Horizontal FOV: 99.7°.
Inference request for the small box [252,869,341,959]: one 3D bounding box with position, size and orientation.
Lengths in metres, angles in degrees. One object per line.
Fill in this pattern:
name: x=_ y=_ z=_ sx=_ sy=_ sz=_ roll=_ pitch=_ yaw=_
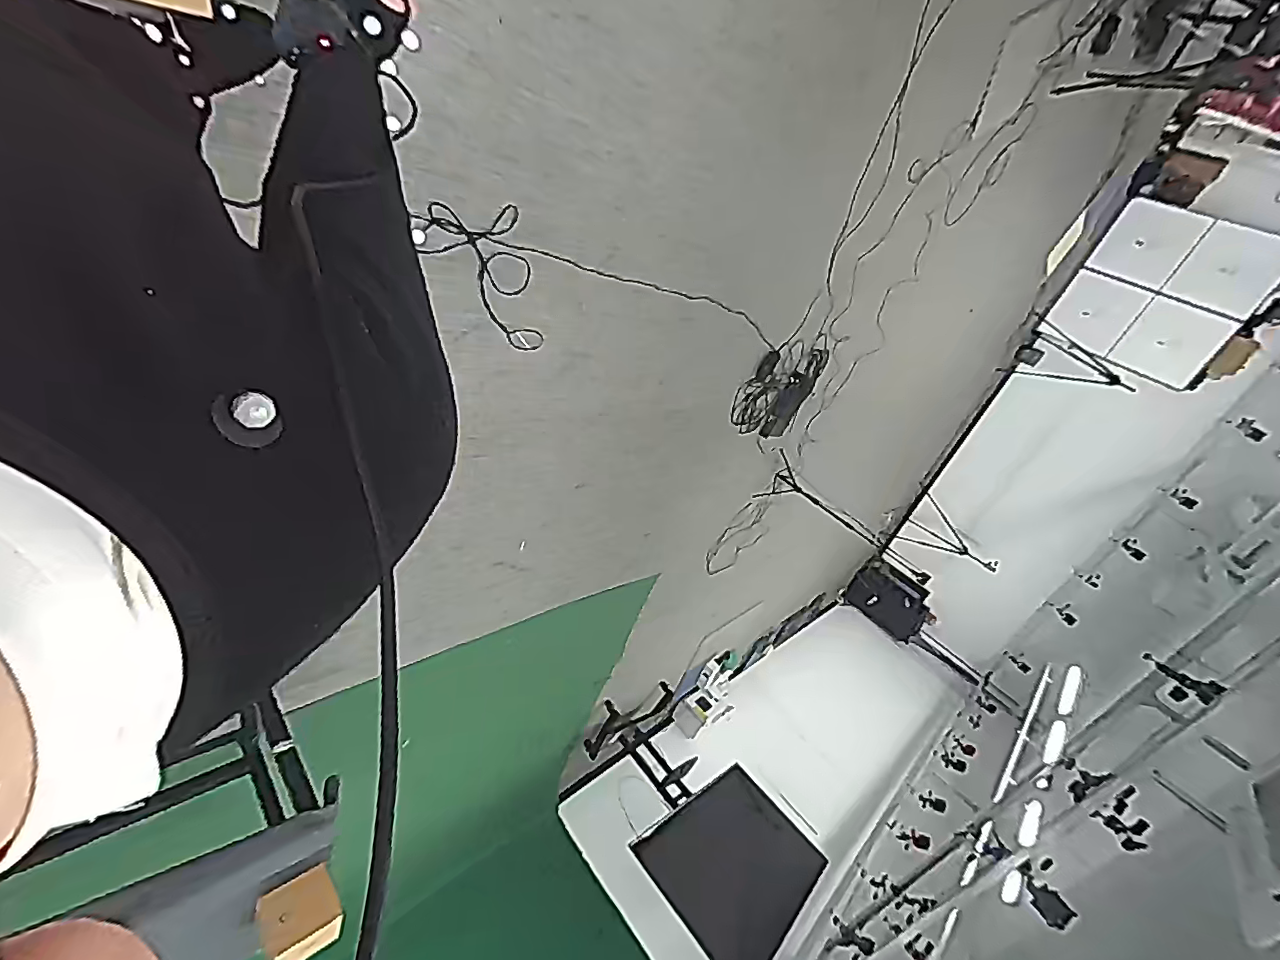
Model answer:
small box: x=-1.002 y=1.292 z=1.569 sx=0.179 sy=0.176 sz=0.168 roll=-7 pitch=131 yaw=-49
